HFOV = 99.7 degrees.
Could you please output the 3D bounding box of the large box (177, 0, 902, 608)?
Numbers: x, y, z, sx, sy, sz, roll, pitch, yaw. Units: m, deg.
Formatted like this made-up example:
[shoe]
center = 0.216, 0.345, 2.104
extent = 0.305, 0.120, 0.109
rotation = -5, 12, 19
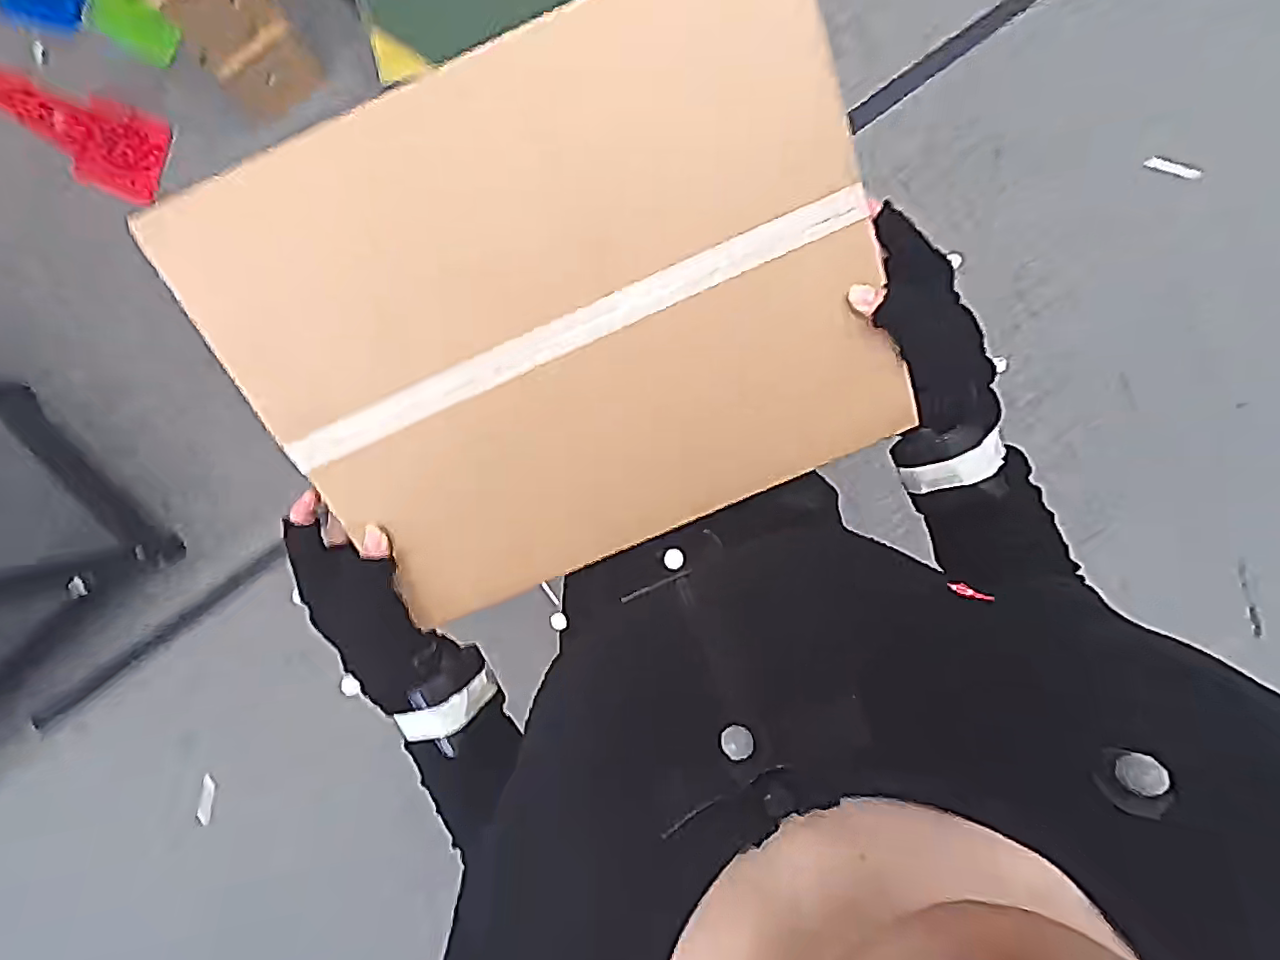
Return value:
[large box]
center = -0.056, -0.153, 0.501
extent = 0.408, 0.320, 0.320
rotation = -23, 111, 4
